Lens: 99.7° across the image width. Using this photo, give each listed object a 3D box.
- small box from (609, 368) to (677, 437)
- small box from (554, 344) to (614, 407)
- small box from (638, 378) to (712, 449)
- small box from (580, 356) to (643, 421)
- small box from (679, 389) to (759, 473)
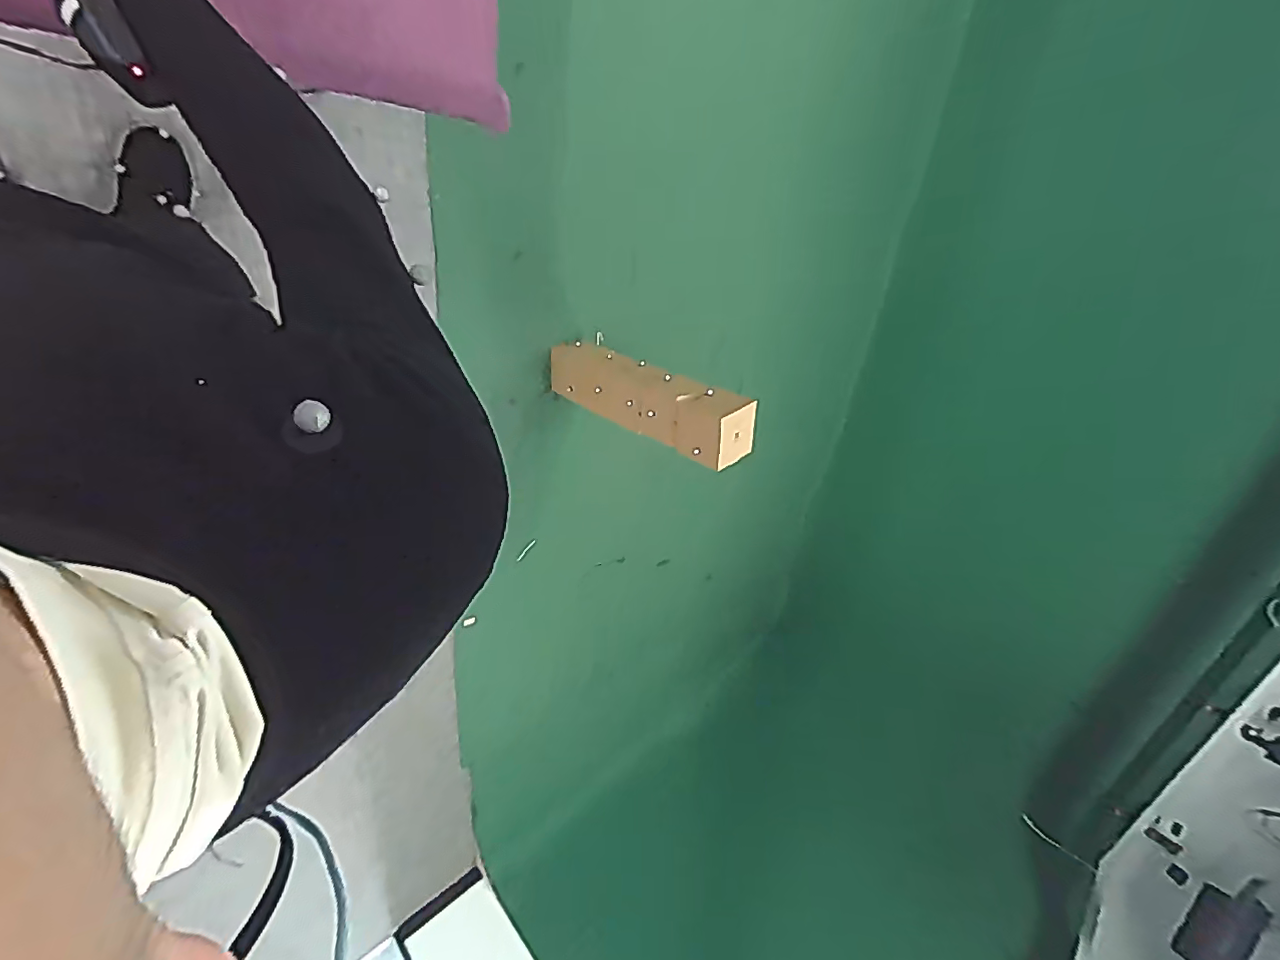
[{"bbox_3d":[0.009,-0.271,1.825,0.168,0.176,0.179,-22,129,-37],"label":"small box"},{"bbox_3d":[-0.211,-0.397,2.029,0.168,0.176,0.179,-22,129,-38],"label":"small box"},{"bbox_3d":[0.112,-0.216,1.710,0.179,0.176,0.168,-18,126,-39],"label":"small box"},{"bbox_3d":[-0.102,-0.331,1.930,0.168,0.176,0.179,-20,127,-39],"label":"small box"},{"bbox_3d":[0.231,-0.150,1.618,0.168,0.176,0.179,-28,131,-35],"label":"small box"}]
